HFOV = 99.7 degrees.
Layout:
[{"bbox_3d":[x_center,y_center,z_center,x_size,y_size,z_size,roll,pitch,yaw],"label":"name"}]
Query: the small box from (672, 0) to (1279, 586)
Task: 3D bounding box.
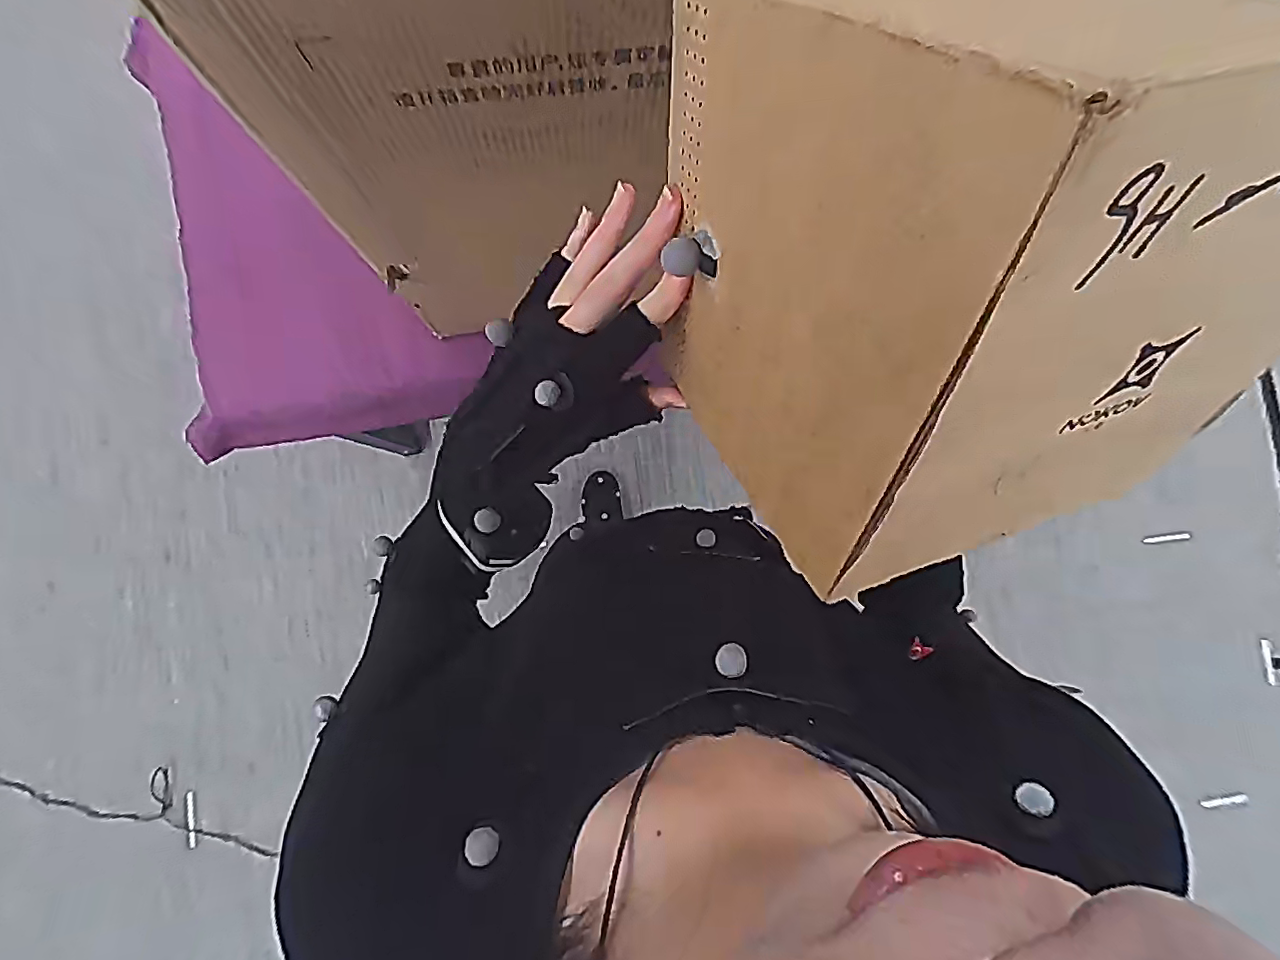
[{"bbox_3d":[0.120,-0.093,0.206,0.168,0.179,0.176,-17,52,-14],"label":"small box"}]
